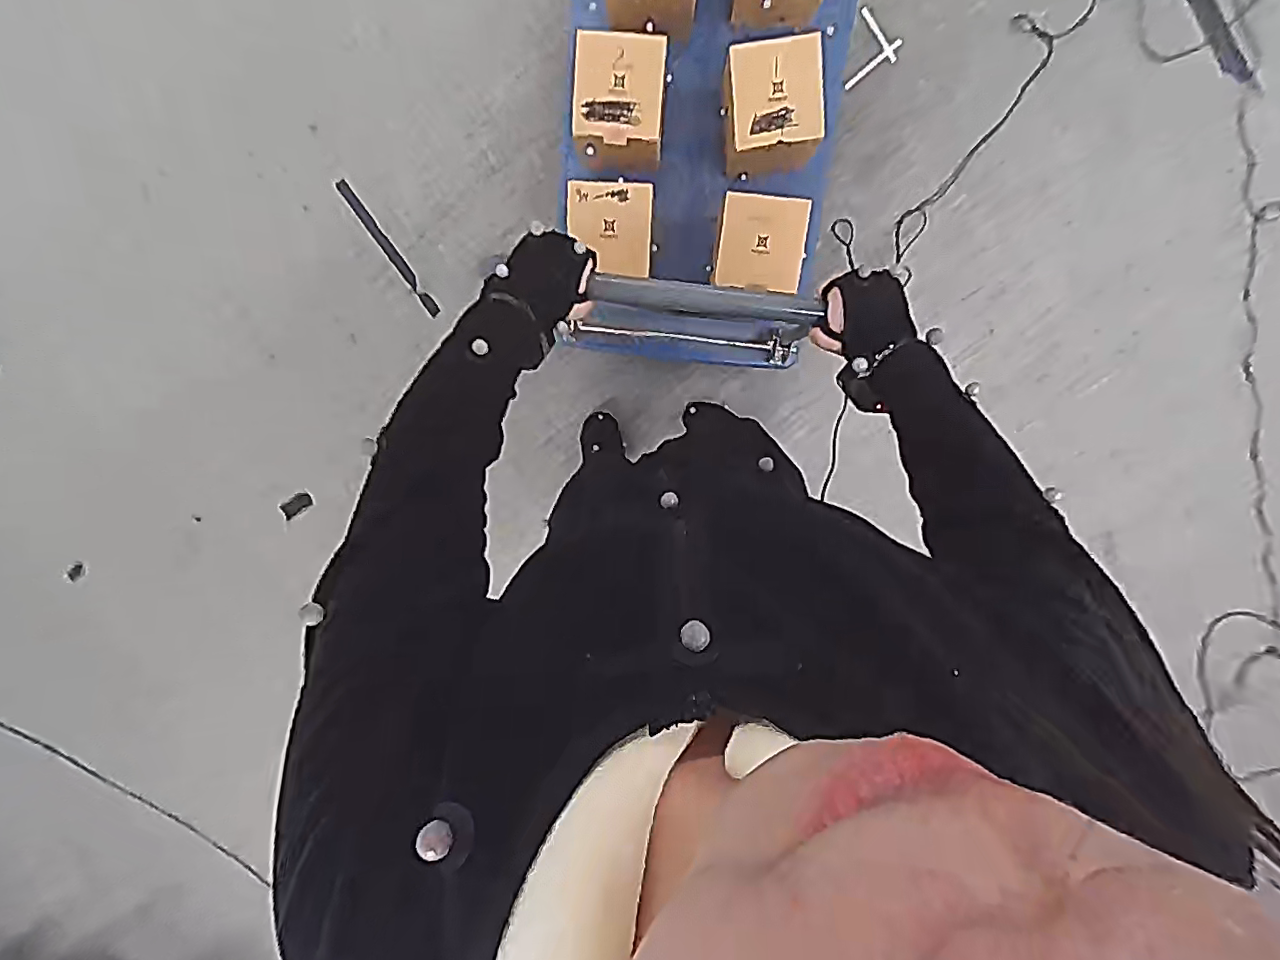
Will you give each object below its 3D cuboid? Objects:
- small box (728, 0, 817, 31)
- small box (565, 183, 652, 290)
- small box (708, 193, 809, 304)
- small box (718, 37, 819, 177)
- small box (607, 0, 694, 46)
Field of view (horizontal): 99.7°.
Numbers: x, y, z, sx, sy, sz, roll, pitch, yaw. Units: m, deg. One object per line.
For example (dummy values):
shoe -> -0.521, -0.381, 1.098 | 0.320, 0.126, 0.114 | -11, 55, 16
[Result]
small box -> 0.261, -0.991, 1.017 | 0.168, 0.176, 0.179 | 3, 102, 1
small box -> -0.061, -0.500, 1.133 | 0.168, 0.176, 0.179 | 3, 103, 0
small box -> 0.237, -0.472, 1.129 | 0.168, 0.176, 0.179 | 7, 102, 0
small box -> 0.250, -0.724, 1.074 | 0.168, 0.176, 0.179 | -6, 101, 3
small box -> 0.027, -0.979, 1.025 | 0.168, 0.176, 0.179 | 8, 103, 0
